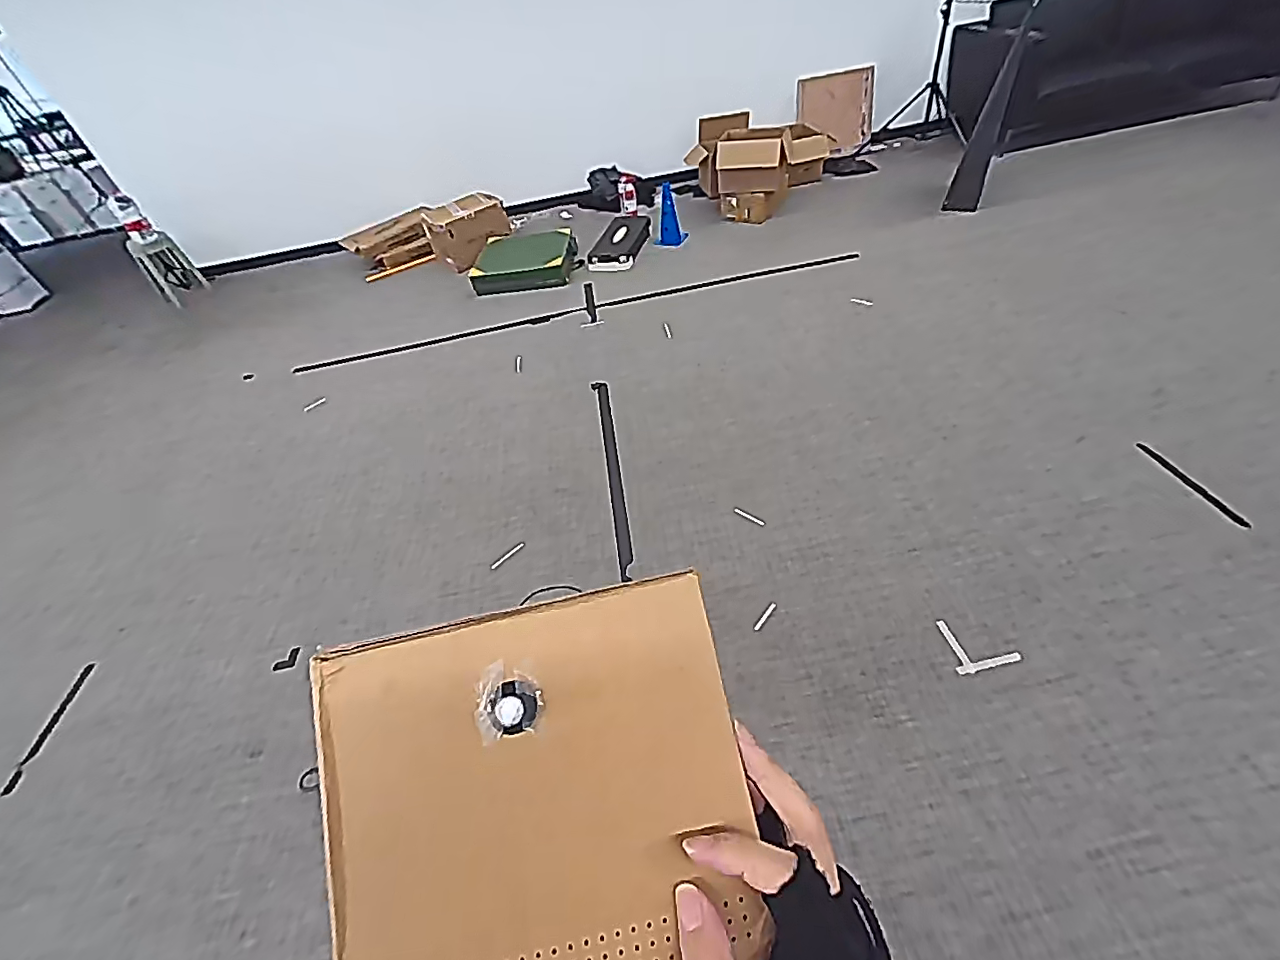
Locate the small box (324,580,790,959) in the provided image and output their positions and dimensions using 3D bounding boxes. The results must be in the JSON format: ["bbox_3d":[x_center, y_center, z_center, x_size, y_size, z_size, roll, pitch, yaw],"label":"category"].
[{"bbox_3d":[-0.040,0.161,0.302,0.179,0.168,0.176,-11,78,-5],"label":"small box"}]
